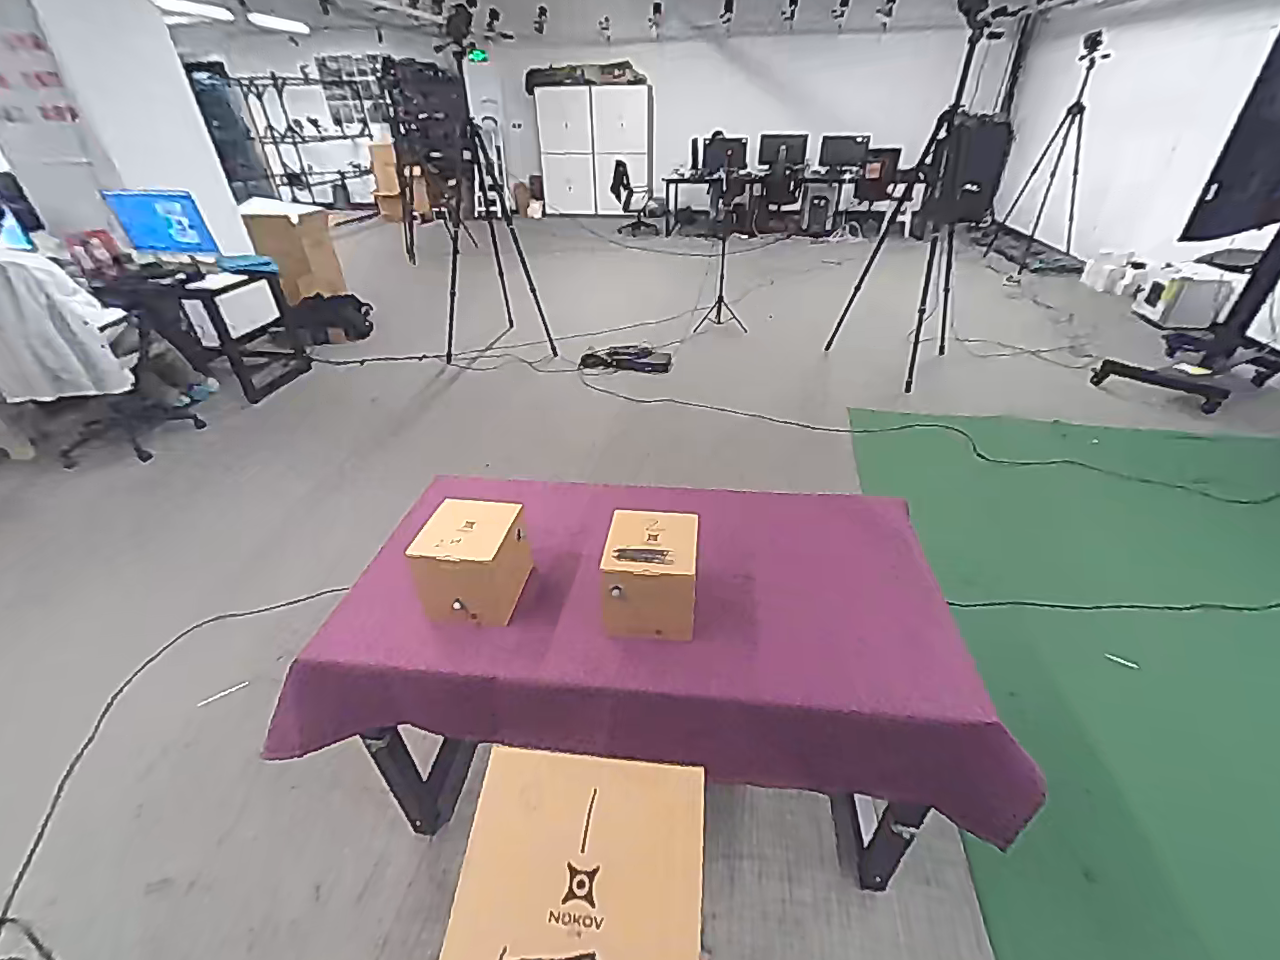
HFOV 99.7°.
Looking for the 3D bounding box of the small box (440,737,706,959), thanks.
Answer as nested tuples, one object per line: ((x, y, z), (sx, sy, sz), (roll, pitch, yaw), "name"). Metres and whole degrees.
((-0.037, 0.321, 0.422), (0.168, 0.176, 0.179), (4, 51, 5), "small box")

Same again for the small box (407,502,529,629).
((-0.327, 0.165, 1.070), (0.168, 0.176, 0.179), (3, 34, 8), "small box")
